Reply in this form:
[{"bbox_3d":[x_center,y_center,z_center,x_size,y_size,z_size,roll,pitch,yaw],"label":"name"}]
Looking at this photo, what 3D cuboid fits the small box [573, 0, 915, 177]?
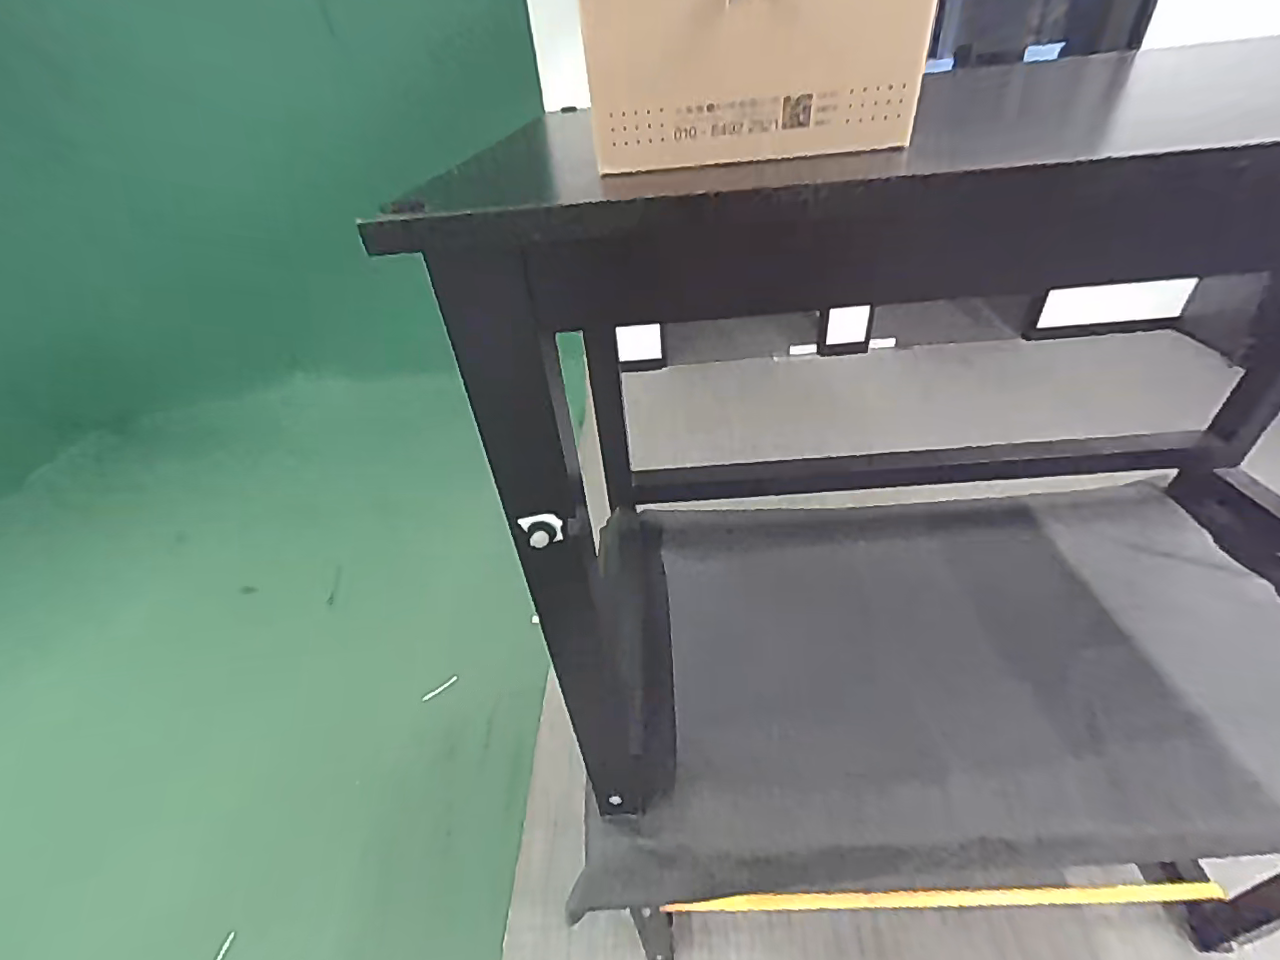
[{"bbox_3d":[0.051,-0.280,0.310,0.168,0.176,0.179,-3,37,3],"label":"small box"}]
